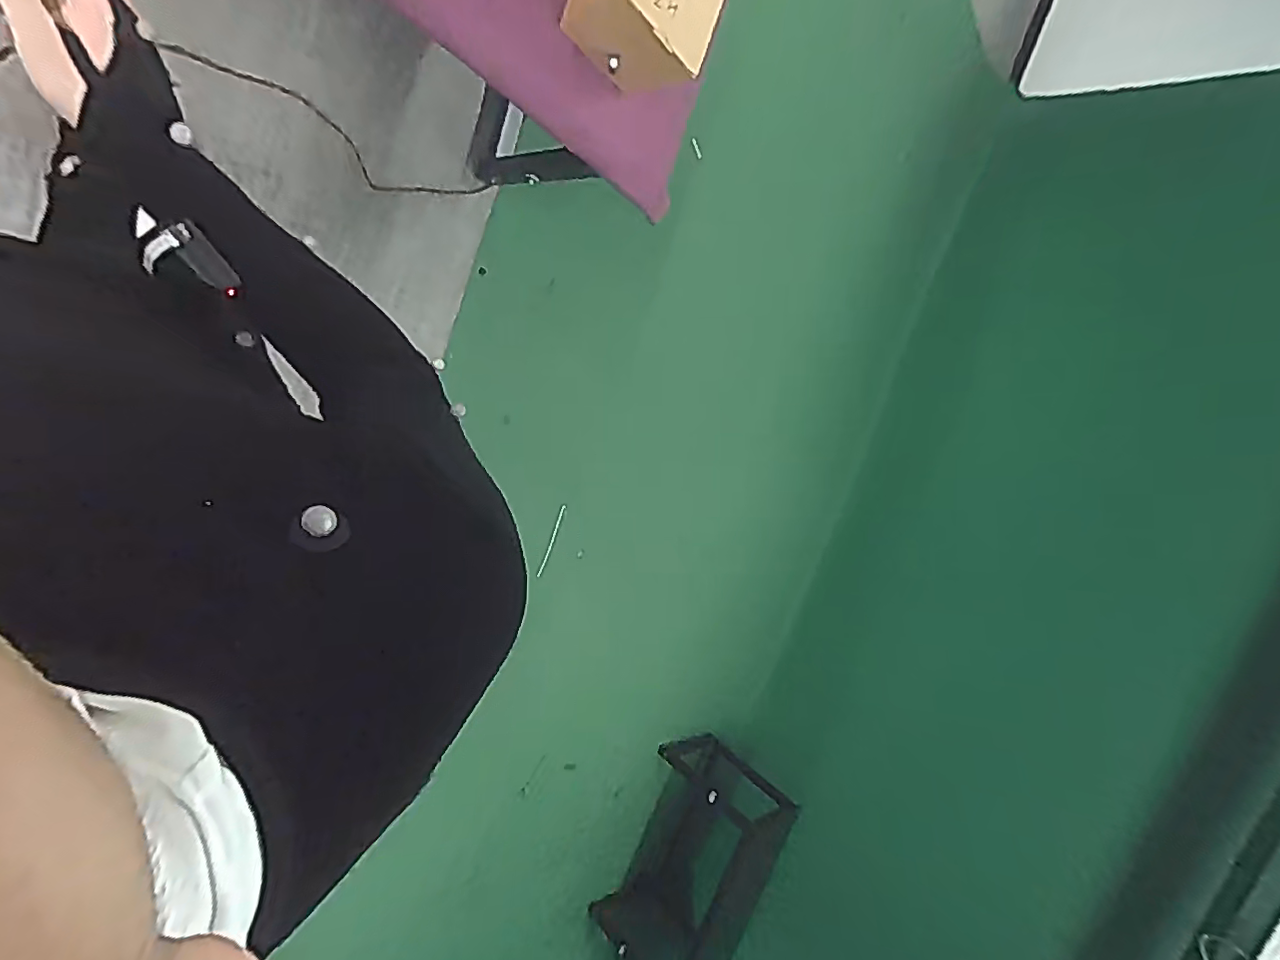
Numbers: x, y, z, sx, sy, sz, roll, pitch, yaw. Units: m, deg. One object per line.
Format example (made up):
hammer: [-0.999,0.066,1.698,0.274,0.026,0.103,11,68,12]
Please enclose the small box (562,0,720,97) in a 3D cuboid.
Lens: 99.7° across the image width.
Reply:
small box: [0.002,-0.754,0.854,0.168,0.176,0.179,15,97,-47]
